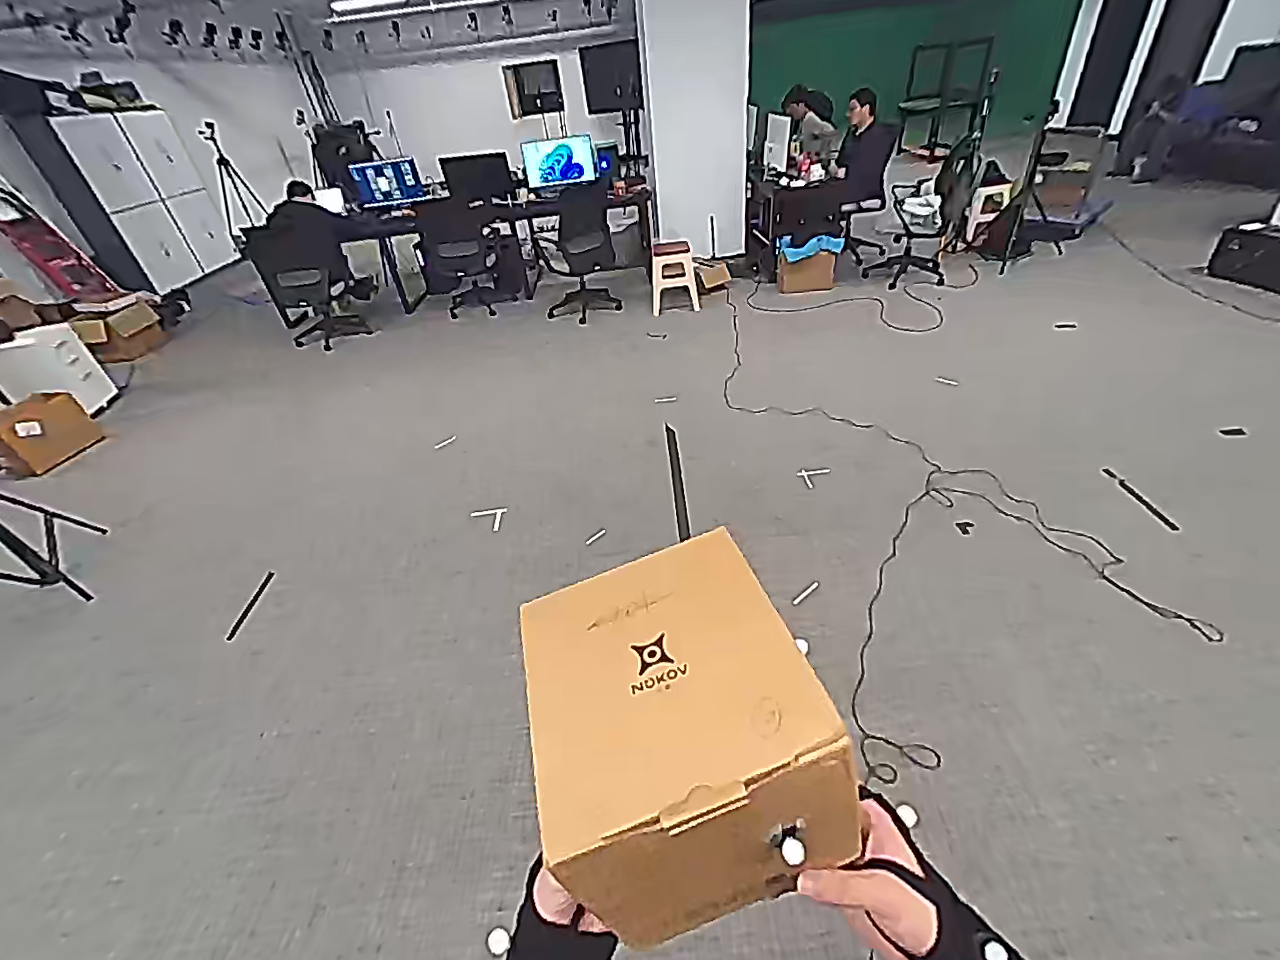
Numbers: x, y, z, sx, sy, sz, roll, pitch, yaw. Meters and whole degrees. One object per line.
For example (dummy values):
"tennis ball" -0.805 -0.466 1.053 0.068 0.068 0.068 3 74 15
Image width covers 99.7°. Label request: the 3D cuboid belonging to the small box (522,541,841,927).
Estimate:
"small box" 0.028 0.181 0.389 0.168 0.176 0.179 -20 36 -3
